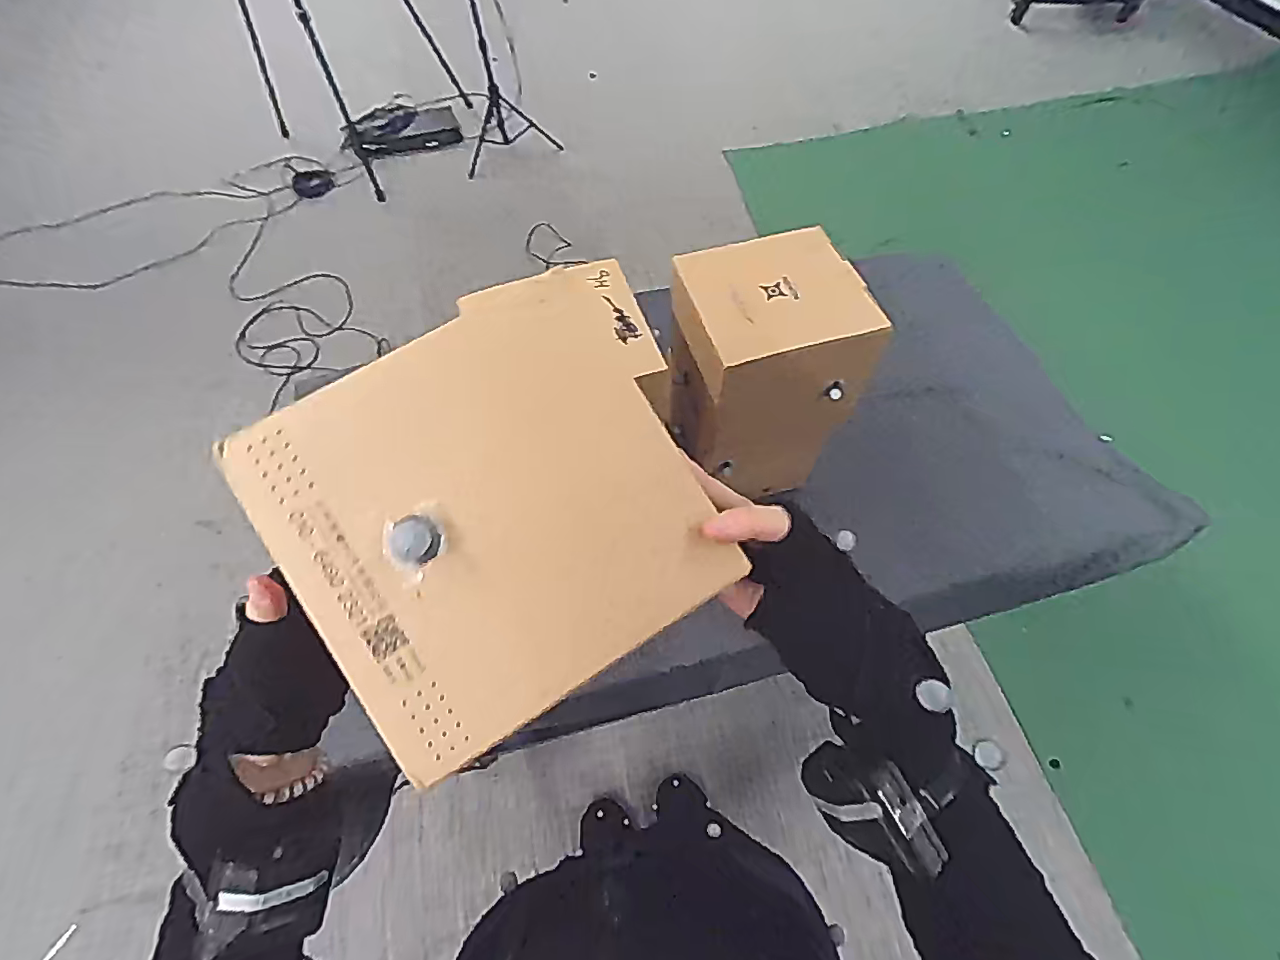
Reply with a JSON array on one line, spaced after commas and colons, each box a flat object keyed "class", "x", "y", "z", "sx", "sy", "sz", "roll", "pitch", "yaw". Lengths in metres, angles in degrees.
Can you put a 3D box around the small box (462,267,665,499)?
[{"class": "small box", "x": -0.077, "y": -0.101, "z": 0.610, "sx": 0.179, "sy": 0.176, "sz": 0.168, "roll": -18, "pitch": 62, "yaw": -7}]
